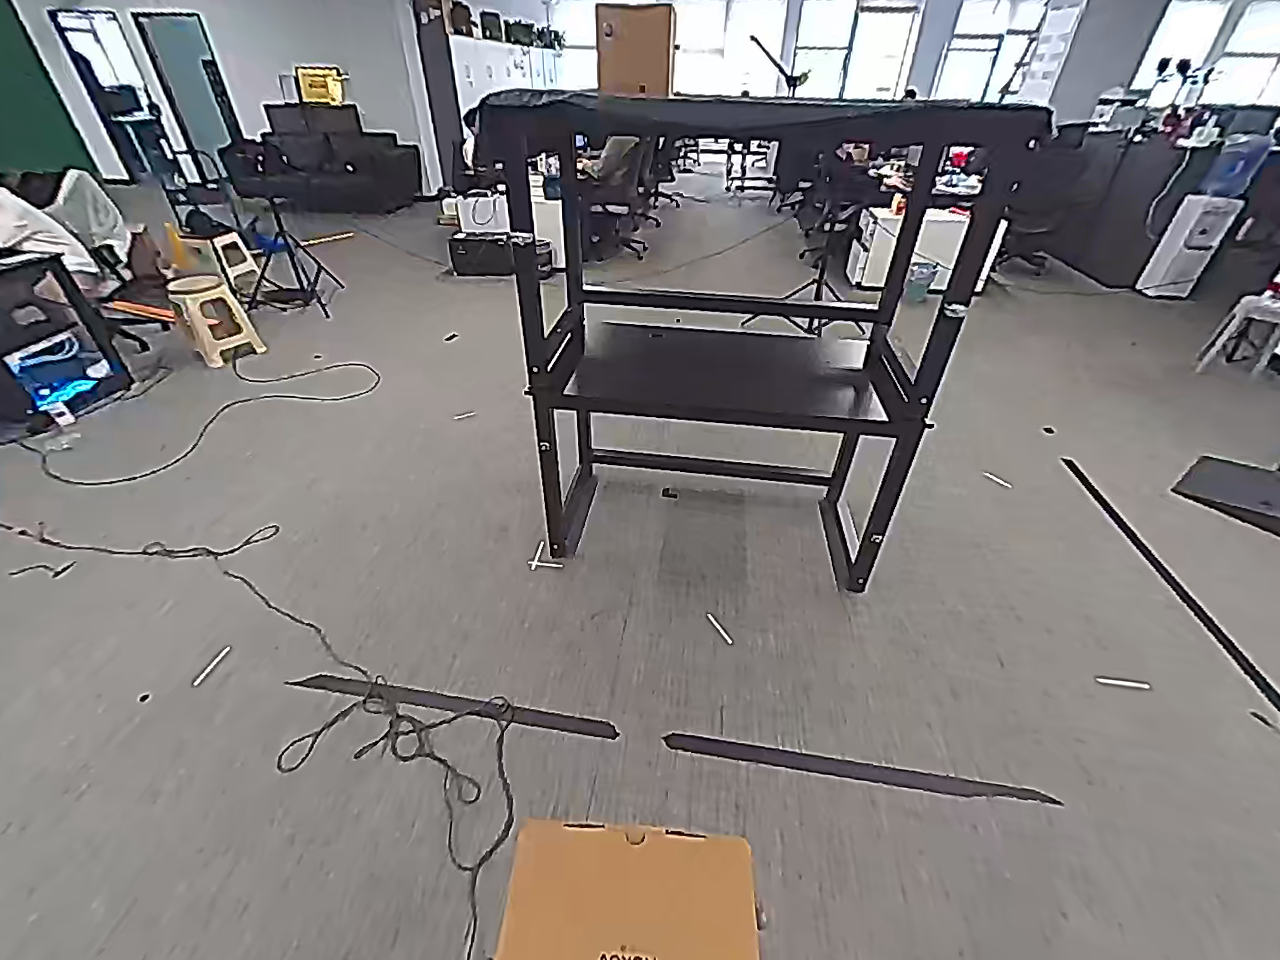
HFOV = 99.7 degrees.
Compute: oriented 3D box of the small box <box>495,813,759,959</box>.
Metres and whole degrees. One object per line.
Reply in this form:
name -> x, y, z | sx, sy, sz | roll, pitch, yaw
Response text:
small box -> -0.010, 0.363, 0.374 | 0.168, 0.176, 0.179 | 4, 38, 1
